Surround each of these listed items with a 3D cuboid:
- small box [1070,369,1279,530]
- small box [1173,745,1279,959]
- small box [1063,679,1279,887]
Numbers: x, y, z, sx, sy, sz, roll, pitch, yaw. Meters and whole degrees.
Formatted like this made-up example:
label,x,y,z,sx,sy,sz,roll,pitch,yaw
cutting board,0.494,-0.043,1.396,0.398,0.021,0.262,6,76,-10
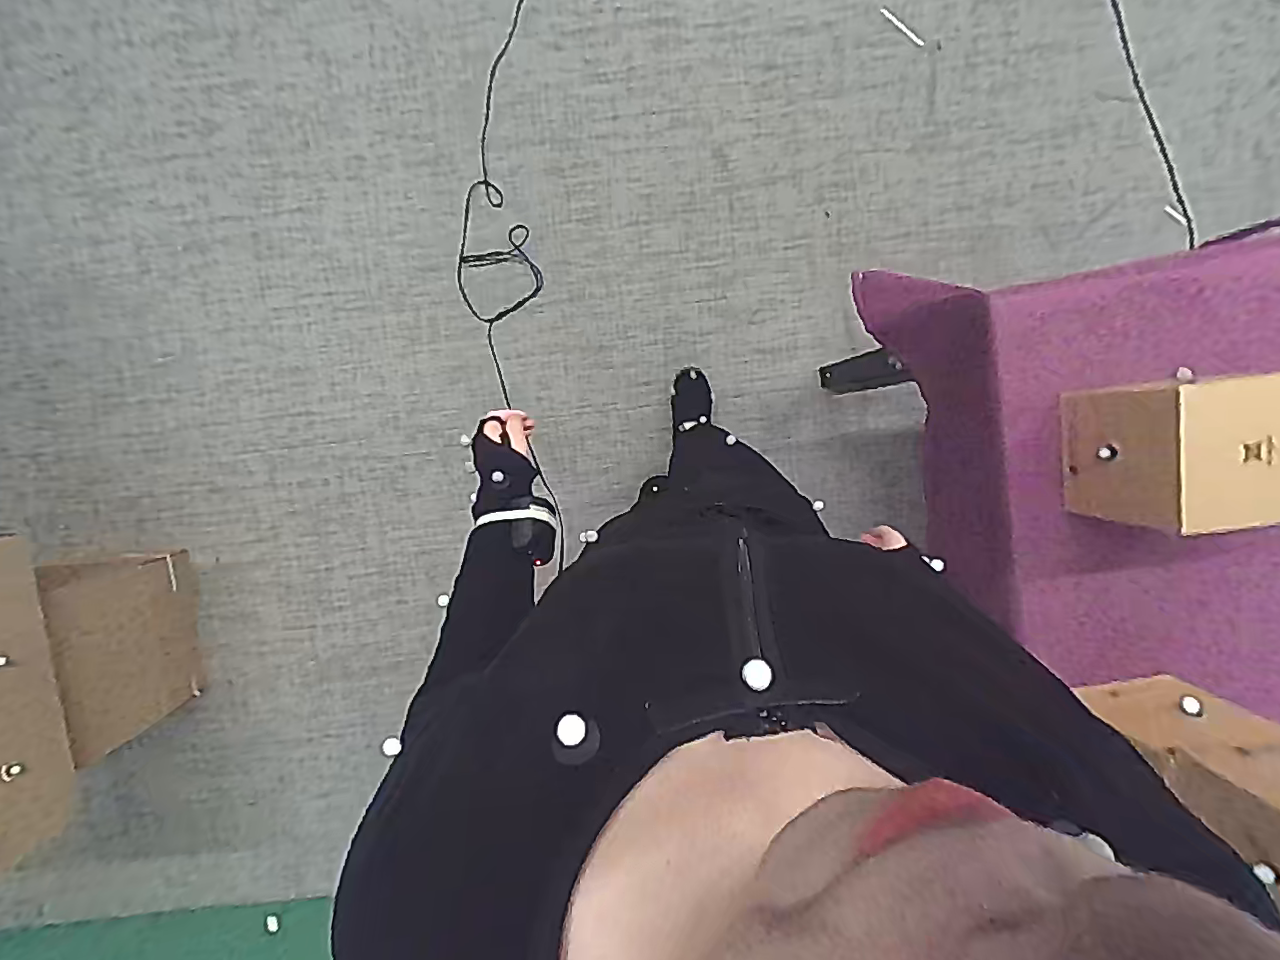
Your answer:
label,x,y,z,sx,sy,sz,roll,pitch,yaw
small box,0.672,-0.042,0.665,0.179,0.176,0.168,-7,97,0
small box,0.704,0.394,0.552,0.168,0.176,0.179,-4,96,0
small box,0.703,0.382,0.716,0.168,0.176,0.179,-8,97,0
